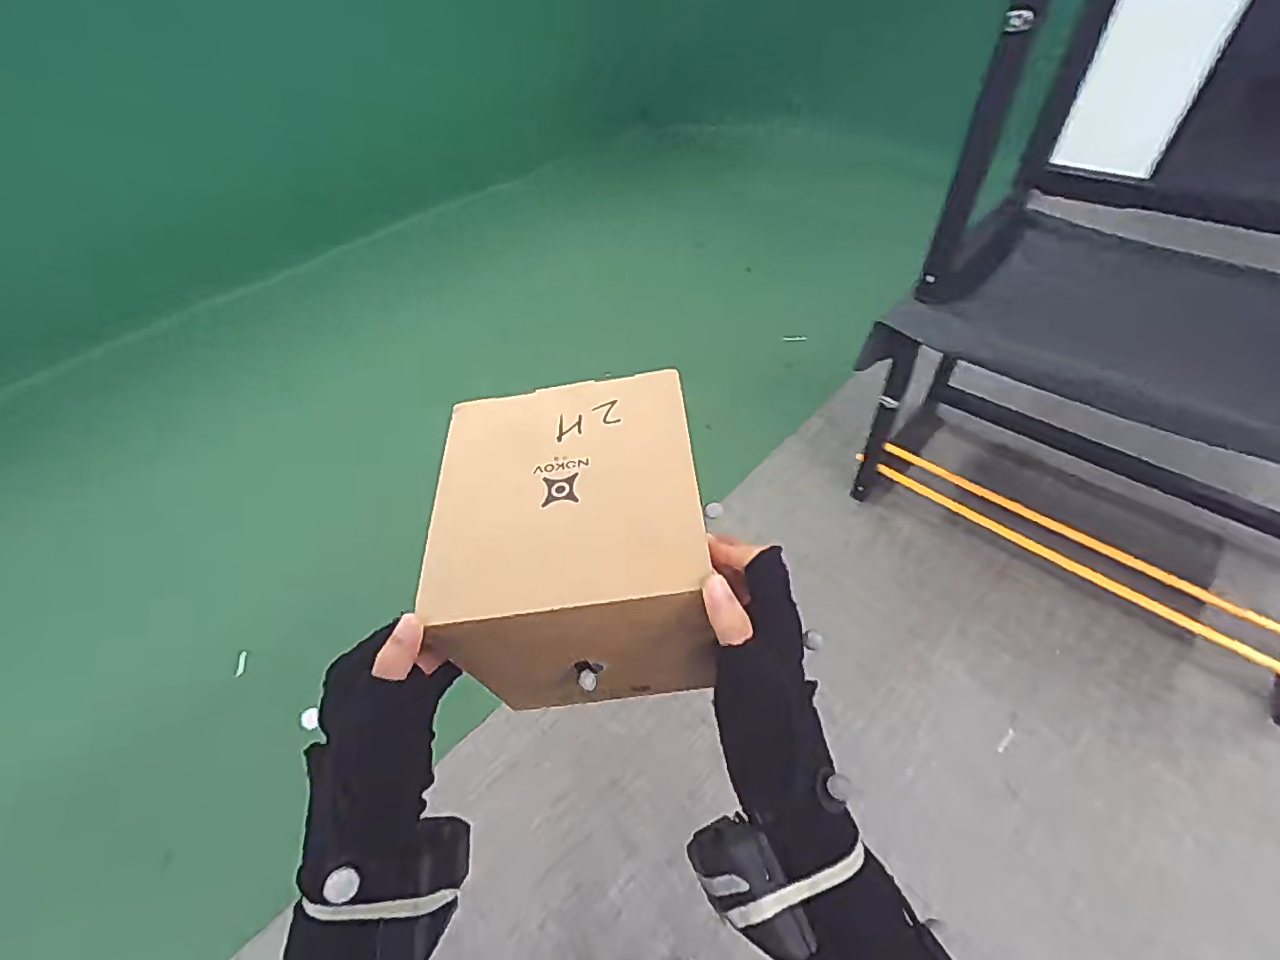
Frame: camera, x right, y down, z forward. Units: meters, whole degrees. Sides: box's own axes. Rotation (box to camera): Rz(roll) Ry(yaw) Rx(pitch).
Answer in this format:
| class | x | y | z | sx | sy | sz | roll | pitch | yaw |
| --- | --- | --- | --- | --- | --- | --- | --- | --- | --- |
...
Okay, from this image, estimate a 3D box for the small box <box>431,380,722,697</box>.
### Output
| class | x | y | z | sx | sy | sz | roll | pitch | yaw |
| --- | --- | --- | --- | --- | --- | --- | --- | --- | --- |
| small box | -0.031 | 0.053 | 0.410 | 0.168 | 0.176 | 0.179 | -7 | 51 | 4 |
